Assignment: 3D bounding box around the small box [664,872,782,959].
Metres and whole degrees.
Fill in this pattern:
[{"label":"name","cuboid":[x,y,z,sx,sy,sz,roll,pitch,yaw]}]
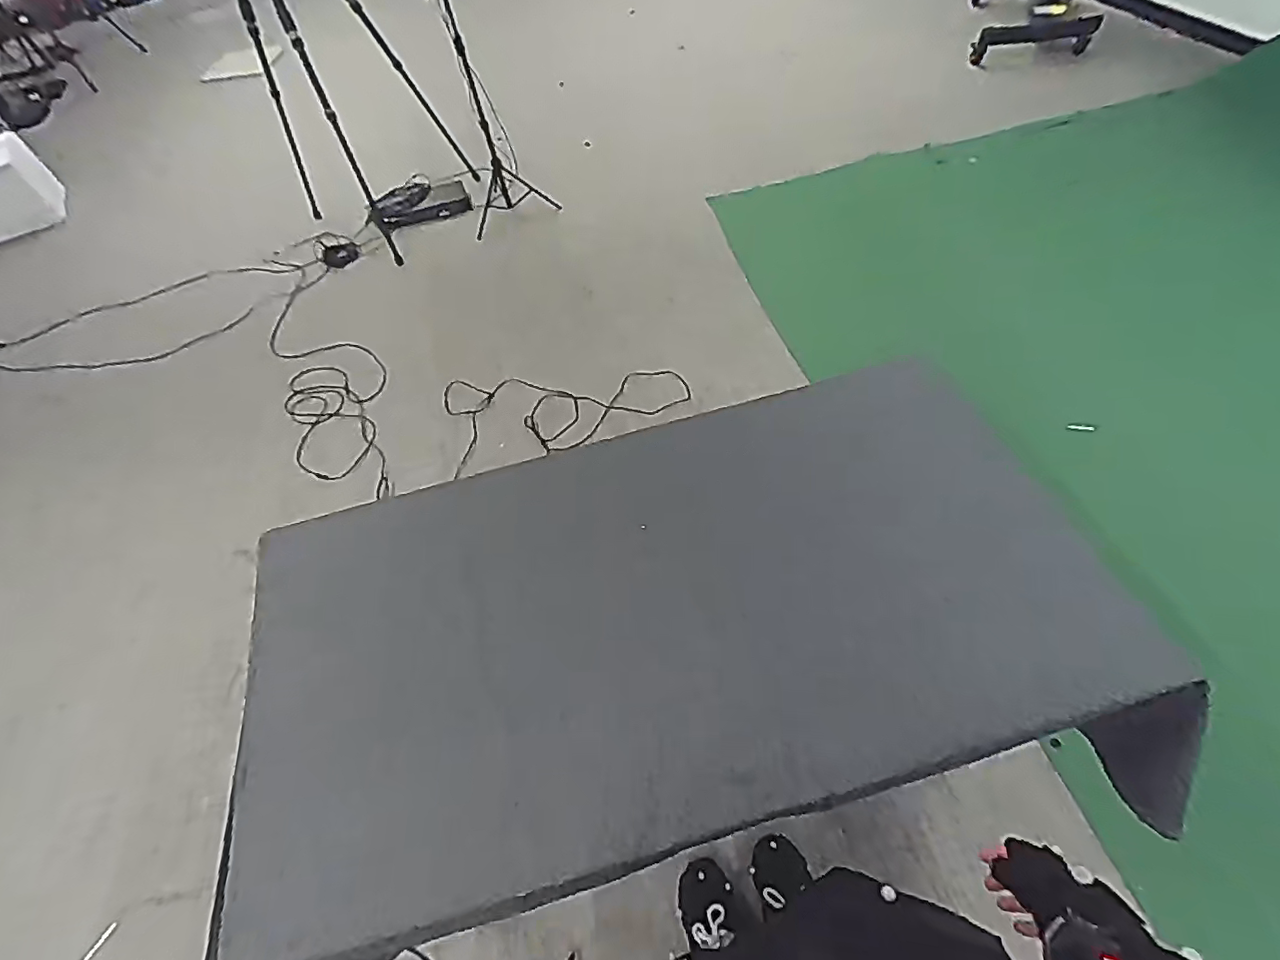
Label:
[{"label":"small box","cuboid":[0.163,0.911,1.067,0.179,0.176,0.168,6,67,32]}]
